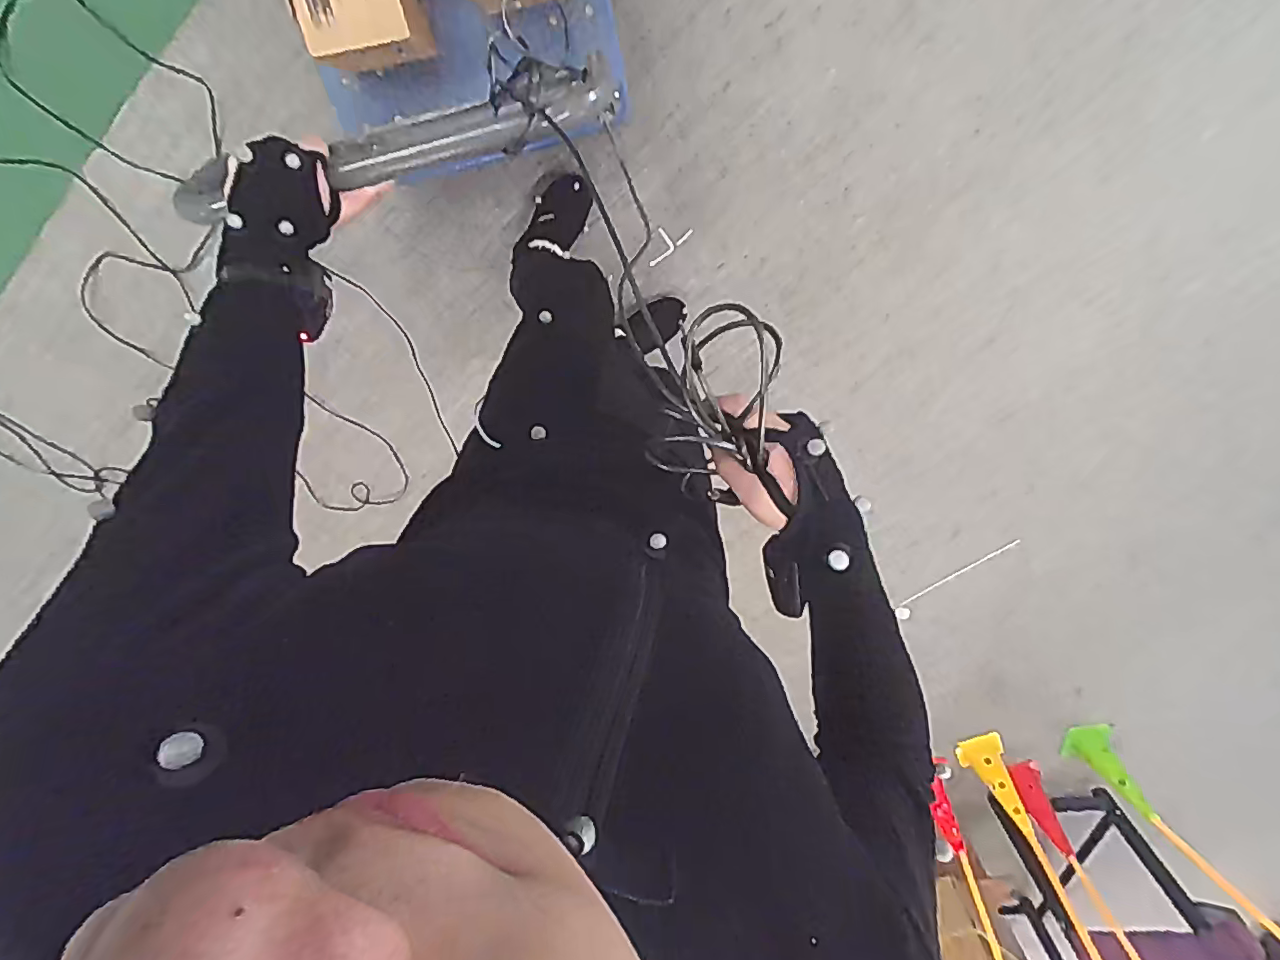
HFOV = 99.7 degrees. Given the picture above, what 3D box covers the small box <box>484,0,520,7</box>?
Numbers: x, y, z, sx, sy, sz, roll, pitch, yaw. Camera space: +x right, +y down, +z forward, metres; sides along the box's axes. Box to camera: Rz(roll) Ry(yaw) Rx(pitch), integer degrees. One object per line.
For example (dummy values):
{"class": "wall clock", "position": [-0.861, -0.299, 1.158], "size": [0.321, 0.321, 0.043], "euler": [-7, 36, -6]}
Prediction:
{"class": "small box", "position": [-0.222, -0.916, 0.880], "size": [0.168, 0.176, 0.179], "euler": [-10, 122, 5]}
